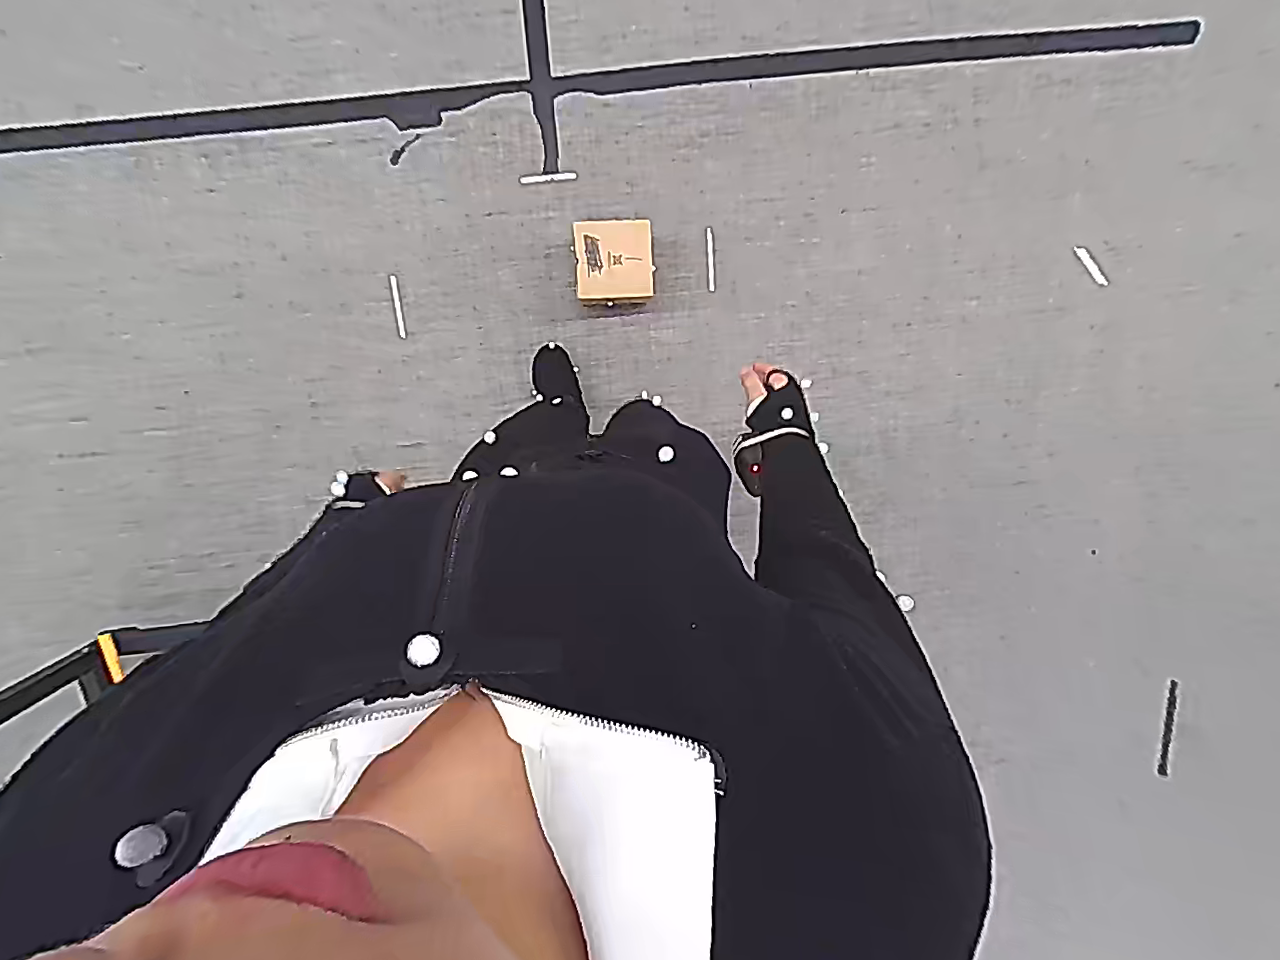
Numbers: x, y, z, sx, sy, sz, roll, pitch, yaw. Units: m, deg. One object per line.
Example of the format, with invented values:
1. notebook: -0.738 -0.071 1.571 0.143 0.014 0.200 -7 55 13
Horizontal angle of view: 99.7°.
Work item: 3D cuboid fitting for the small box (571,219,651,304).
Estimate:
1. small box: -0.068 -0.516 1.293 0.179 0.176 0.168 -3 104 -4
